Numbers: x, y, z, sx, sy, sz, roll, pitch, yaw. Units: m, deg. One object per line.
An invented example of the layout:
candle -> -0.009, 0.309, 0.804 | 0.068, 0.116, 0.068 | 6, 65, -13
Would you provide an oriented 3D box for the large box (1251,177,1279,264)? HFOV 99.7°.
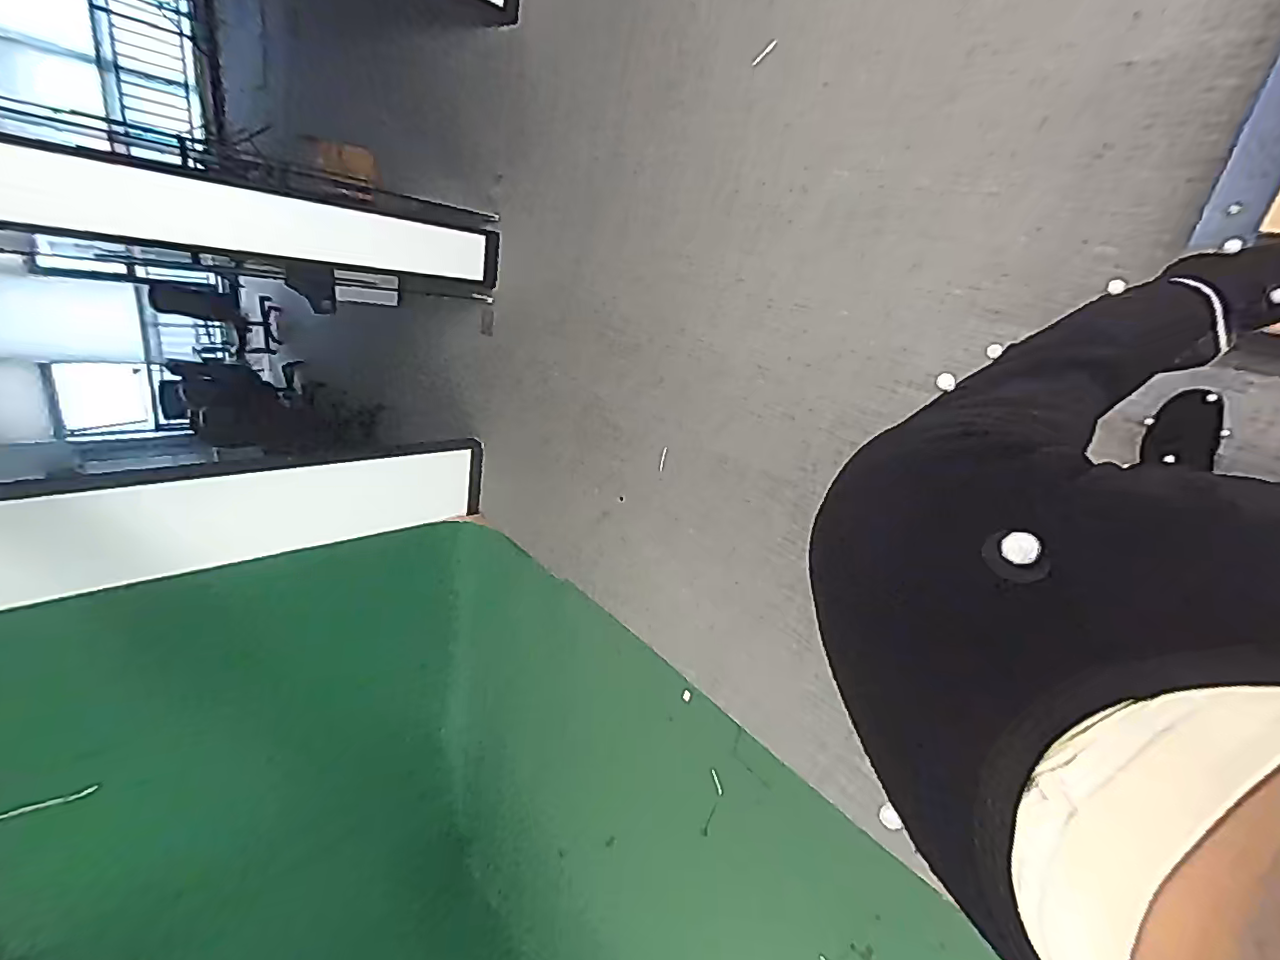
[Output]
large box -> 1.104, -0.497, 0.691 | 0.320, 0.320, 0.408 | 29, 116, 38
